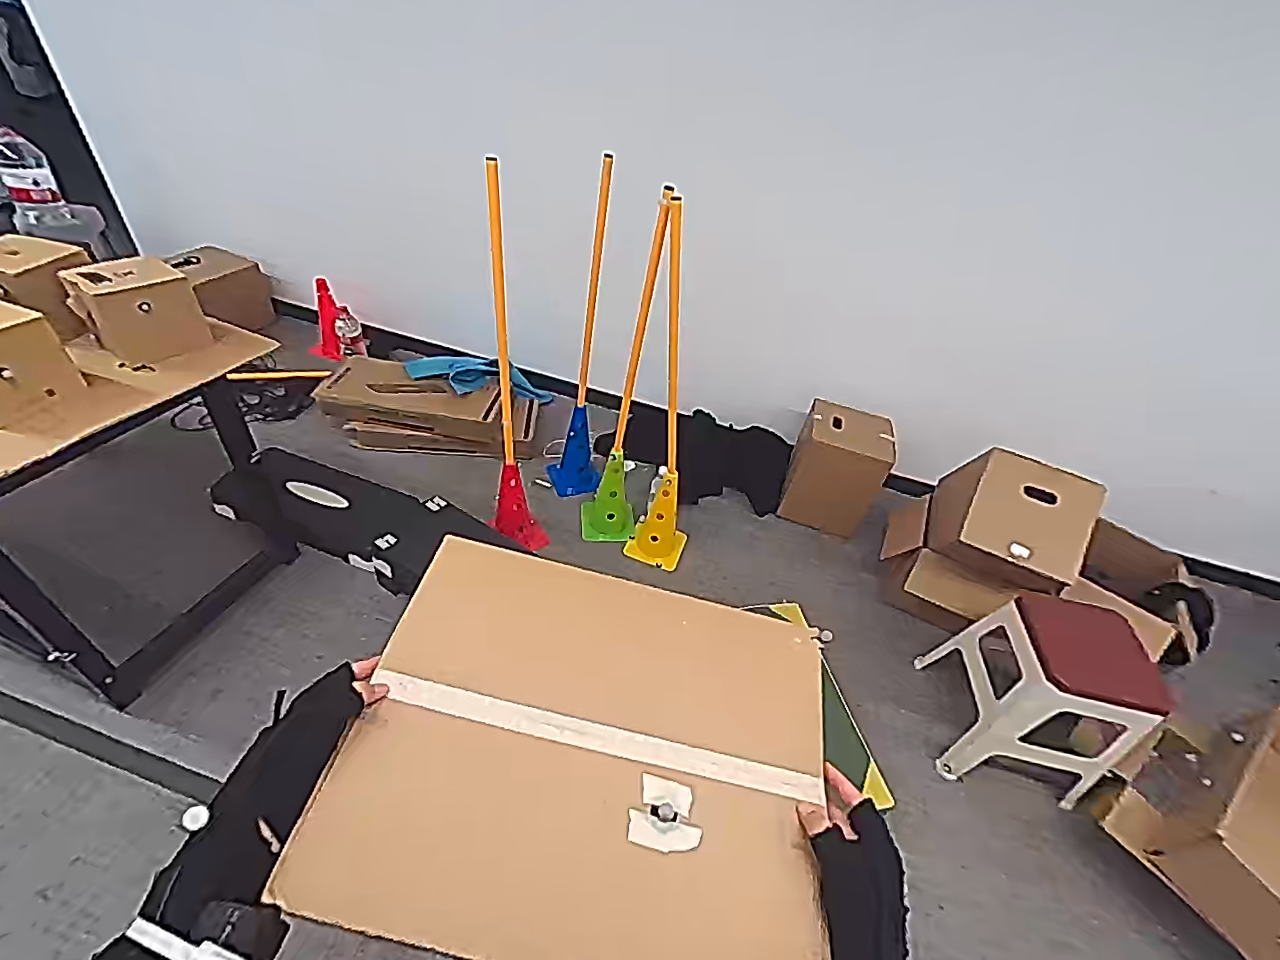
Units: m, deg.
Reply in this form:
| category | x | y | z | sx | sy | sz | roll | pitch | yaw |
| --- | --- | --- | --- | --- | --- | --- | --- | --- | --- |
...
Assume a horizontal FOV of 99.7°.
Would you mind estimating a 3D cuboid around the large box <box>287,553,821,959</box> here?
| category | x | y | z | sx | sy | sz | roll | pitch | yaw |
| --- | --- | --- | --- | --- | --- | --- | --- | --- | --- |
| large box | -0.061 | 0.328 | 0.593 | 0.408 | 0.320 | 0.320 | 14 | 50 | -1 |
